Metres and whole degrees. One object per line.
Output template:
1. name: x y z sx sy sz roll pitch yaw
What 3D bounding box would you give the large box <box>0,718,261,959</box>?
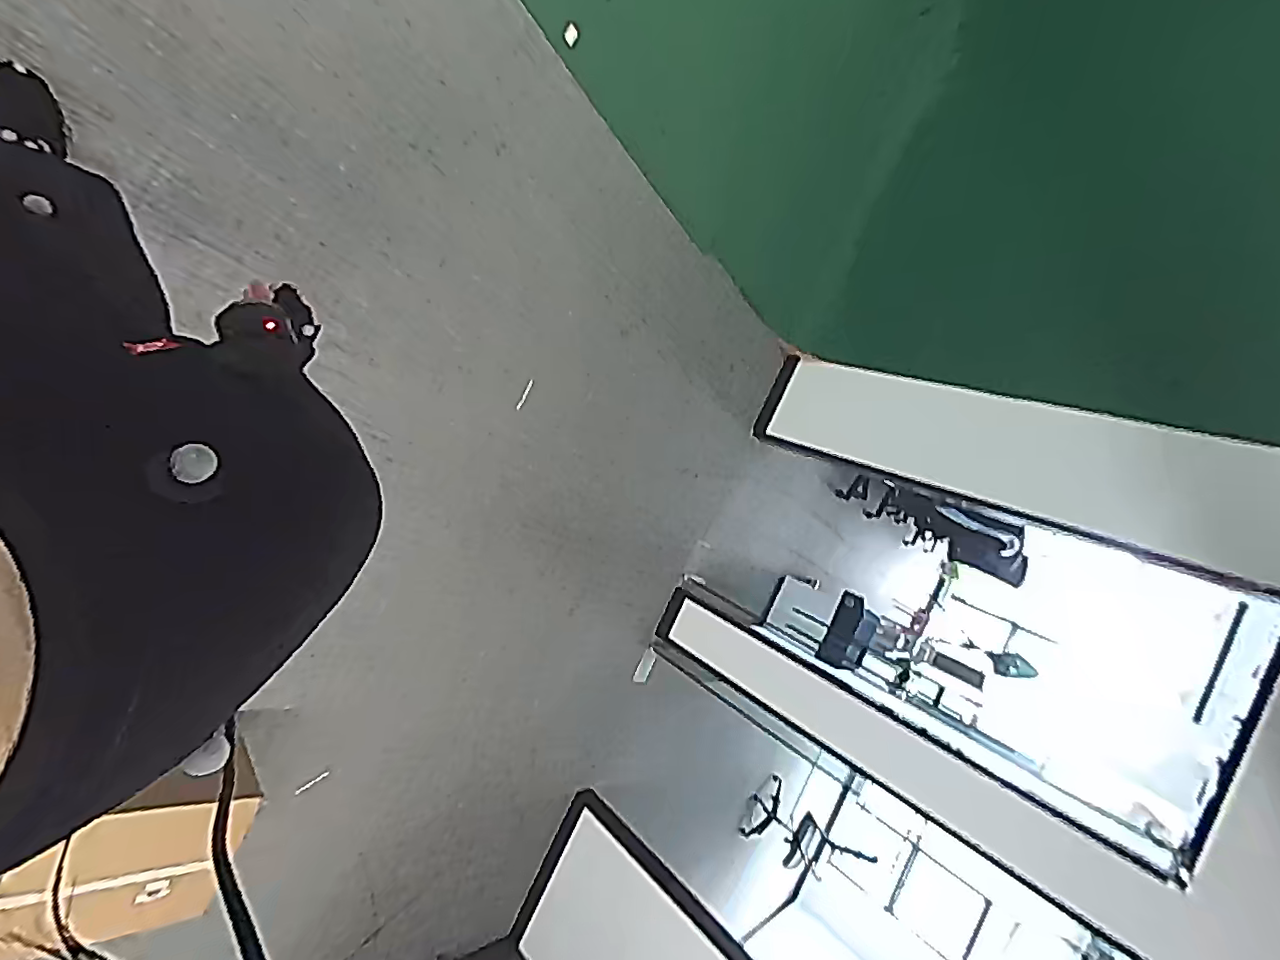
1. large box: -1.188 0.768 1.224 0.408 0.320 0.320 32 85 -52
